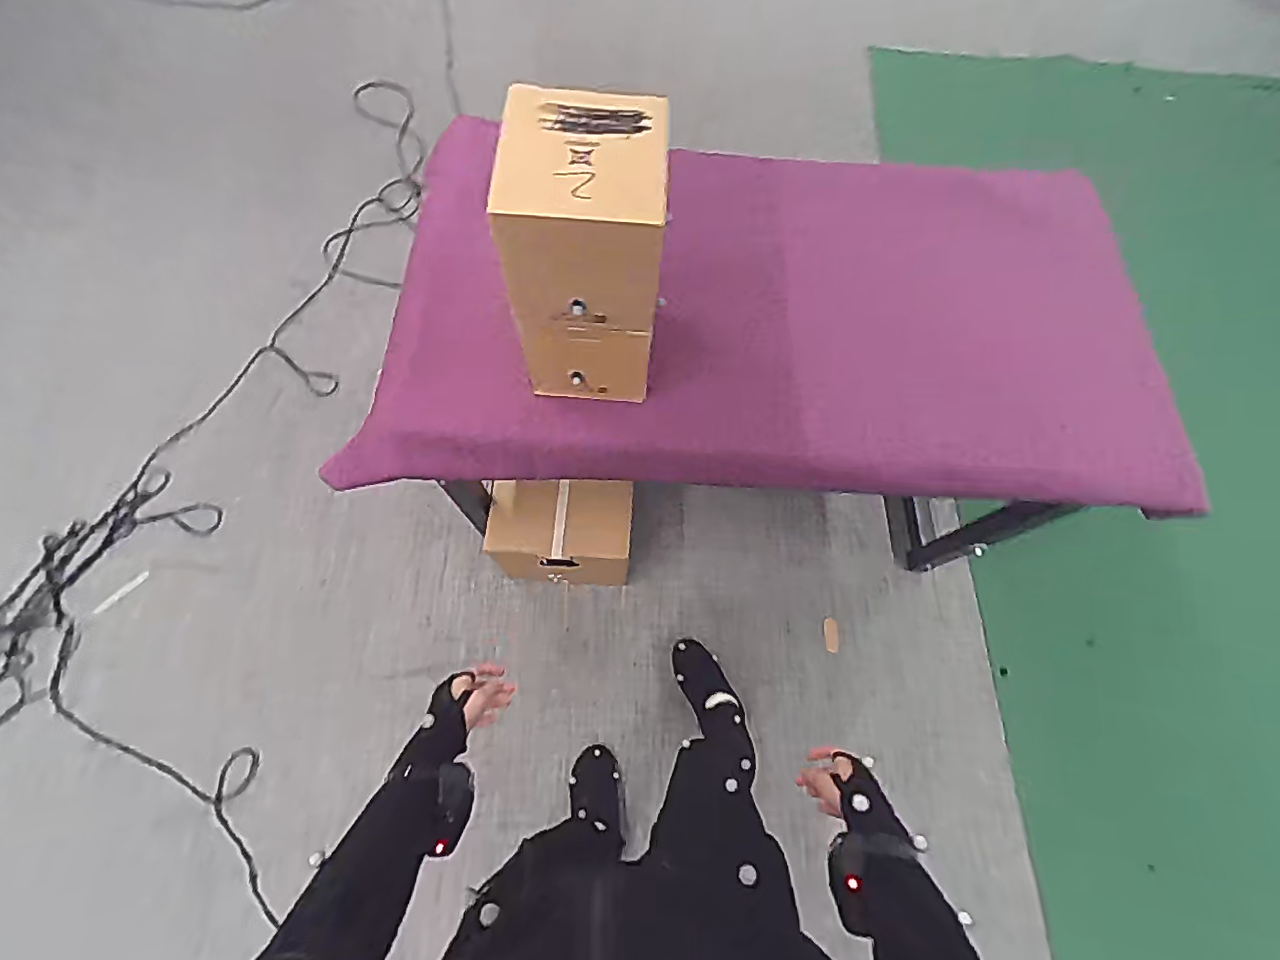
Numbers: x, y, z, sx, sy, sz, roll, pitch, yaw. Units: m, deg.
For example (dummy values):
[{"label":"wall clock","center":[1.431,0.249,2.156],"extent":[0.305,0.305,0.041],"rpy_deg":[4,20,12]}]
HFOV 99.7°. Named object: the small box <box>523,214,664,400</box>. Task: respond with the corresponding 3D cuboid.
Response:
[{"label":"small box","center":[-0.060,-0.236,0.760],"extent":[0.168,0.176,0.179],"rpy_deg":[5,69,-1]}]
